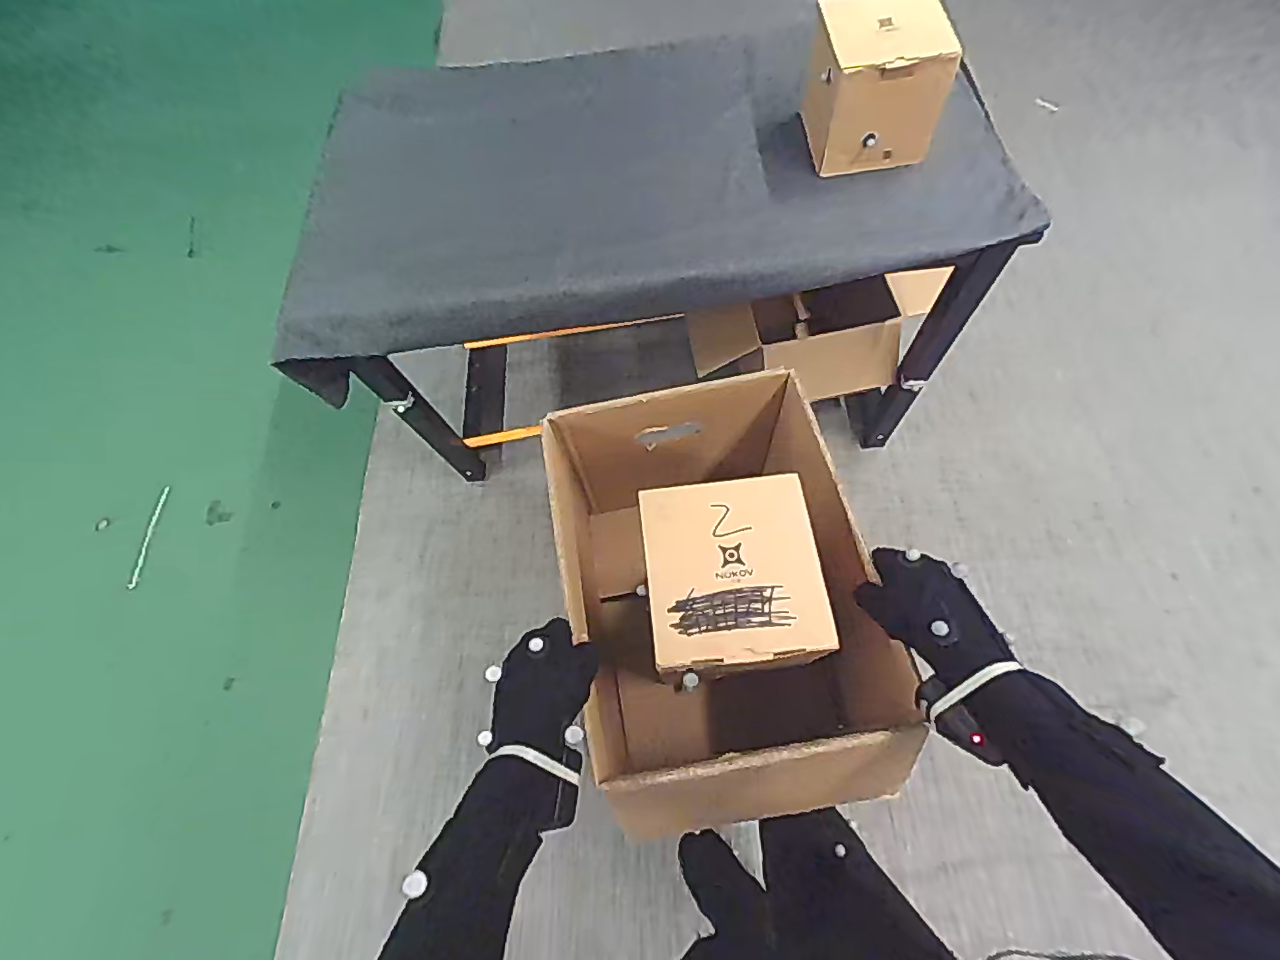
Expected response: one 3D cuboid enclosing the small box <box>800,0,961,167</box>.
[{"bbox_3d":[0.356,-0.627,0.839,0.168,0.176,0.179,-7,68,5],"label":"small box"}]
